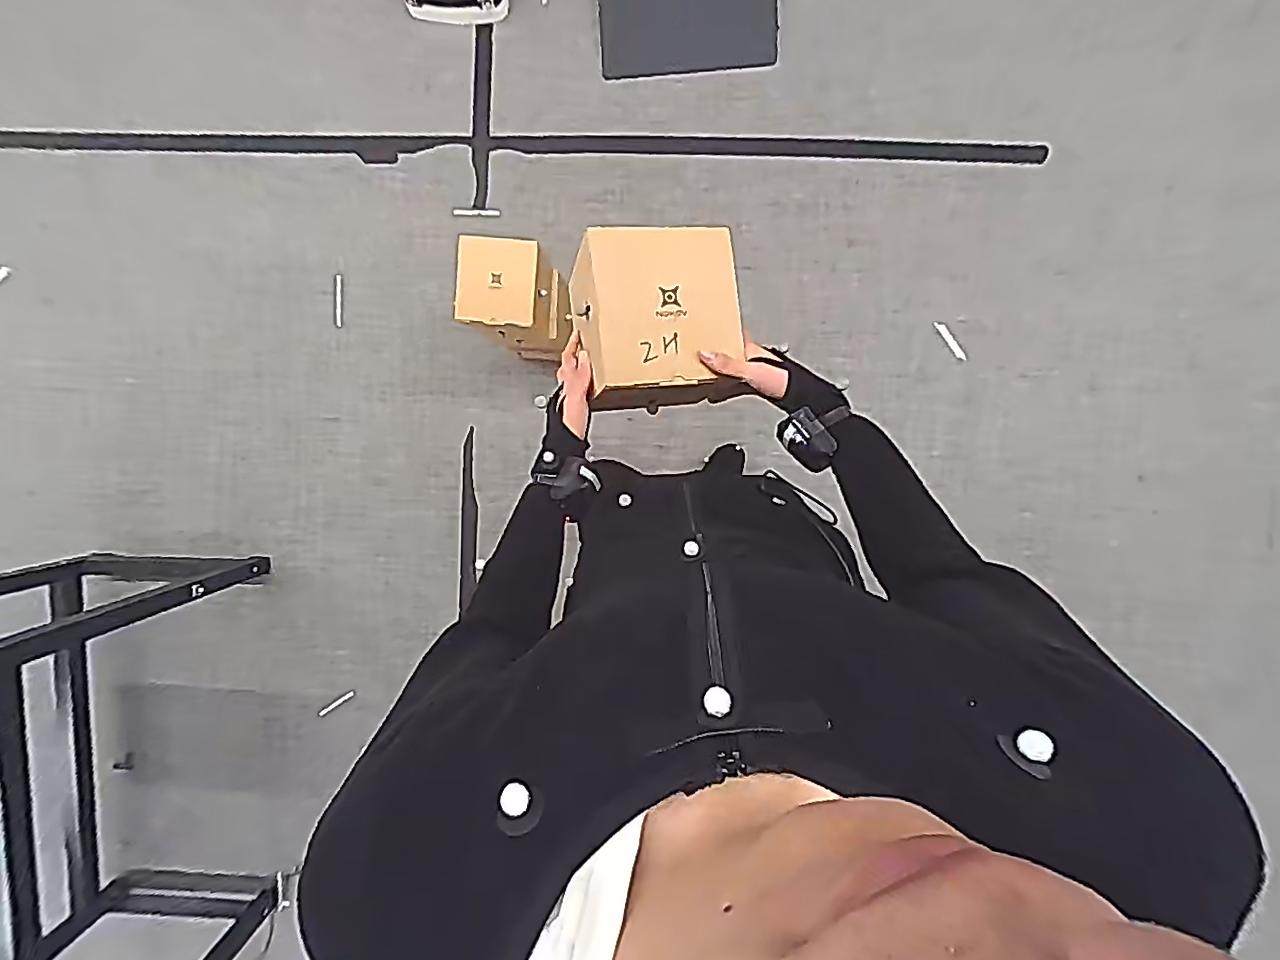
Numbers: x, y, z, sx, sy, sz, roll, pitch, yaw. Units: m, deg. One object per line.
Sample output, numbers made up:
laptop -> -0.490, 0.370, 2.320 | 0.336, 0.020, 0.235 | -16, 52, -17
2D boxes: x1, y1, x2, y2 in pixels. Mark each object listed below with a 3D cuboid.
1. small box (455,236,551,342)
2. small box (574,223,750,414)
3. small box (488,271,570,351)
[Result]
small box -> -0.293, -0.412, 1.190 | 0.168, 0.176, 0.179 | 5, 96, 1
small box -> 0.016, -0.185, 0.659 | 0.168, 0.176, 0.179 | -6, 89, -14
small box -> -0.278, -0.419, 1.352 | 0.179, 0.176, 0.168 | 3, 95, 1
